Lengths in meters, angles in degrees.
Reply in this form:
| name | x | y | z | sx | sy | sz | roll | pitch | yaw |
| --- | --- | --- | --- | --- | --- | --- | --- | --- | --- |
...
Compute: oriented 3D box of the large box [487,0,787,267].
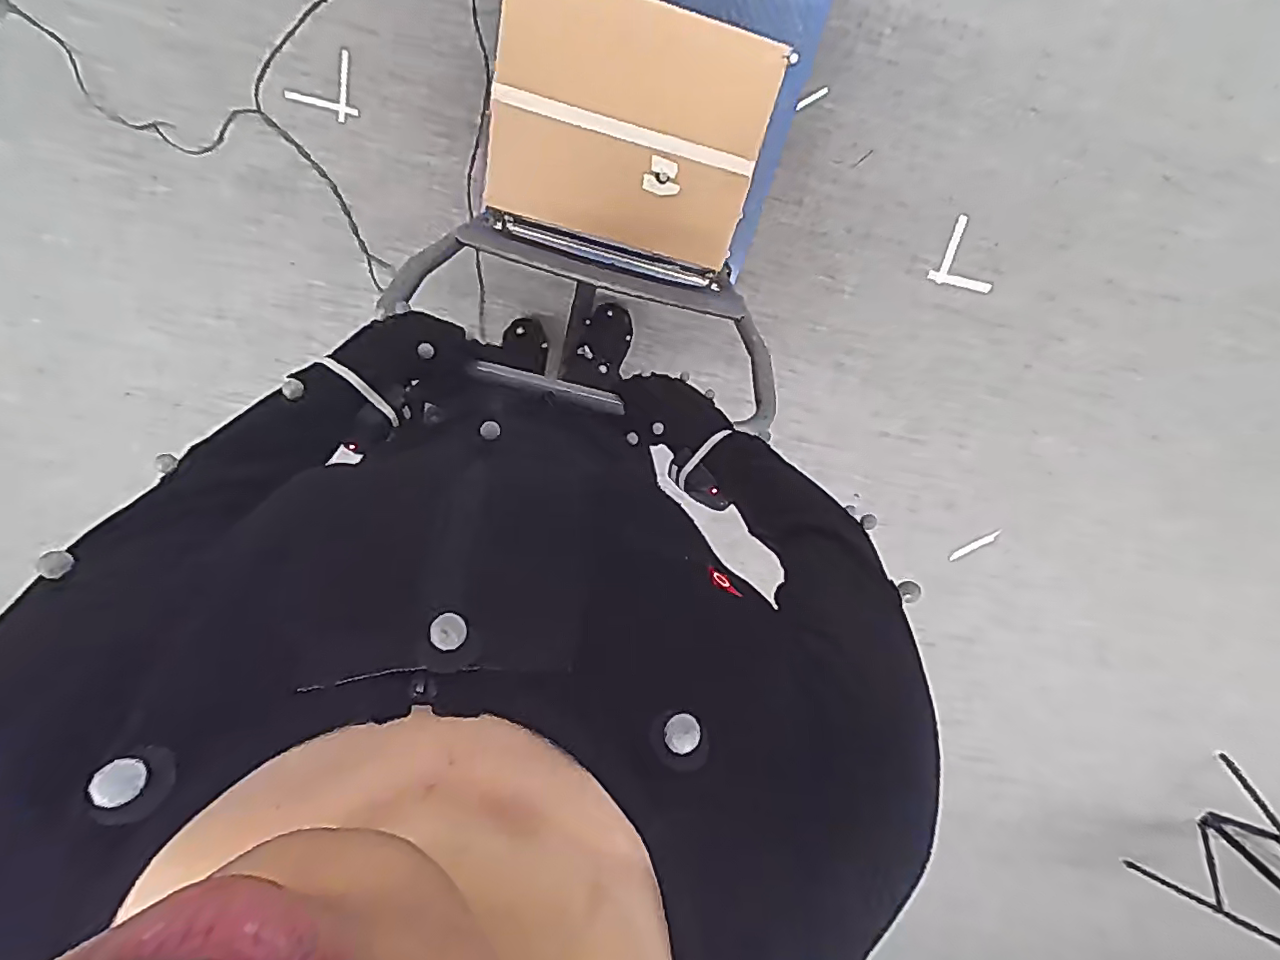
| name | x | y | z | sx | sy | sz | roll | pitch | yaw |
| --- | --- | --- | --- | --- | --- | --- | --- | --- | --- |
| large box | -0.023 | -0.598 | 0.938 | 0.408 | 0.320 | 0.320 | 12 | 121 | -9 |
